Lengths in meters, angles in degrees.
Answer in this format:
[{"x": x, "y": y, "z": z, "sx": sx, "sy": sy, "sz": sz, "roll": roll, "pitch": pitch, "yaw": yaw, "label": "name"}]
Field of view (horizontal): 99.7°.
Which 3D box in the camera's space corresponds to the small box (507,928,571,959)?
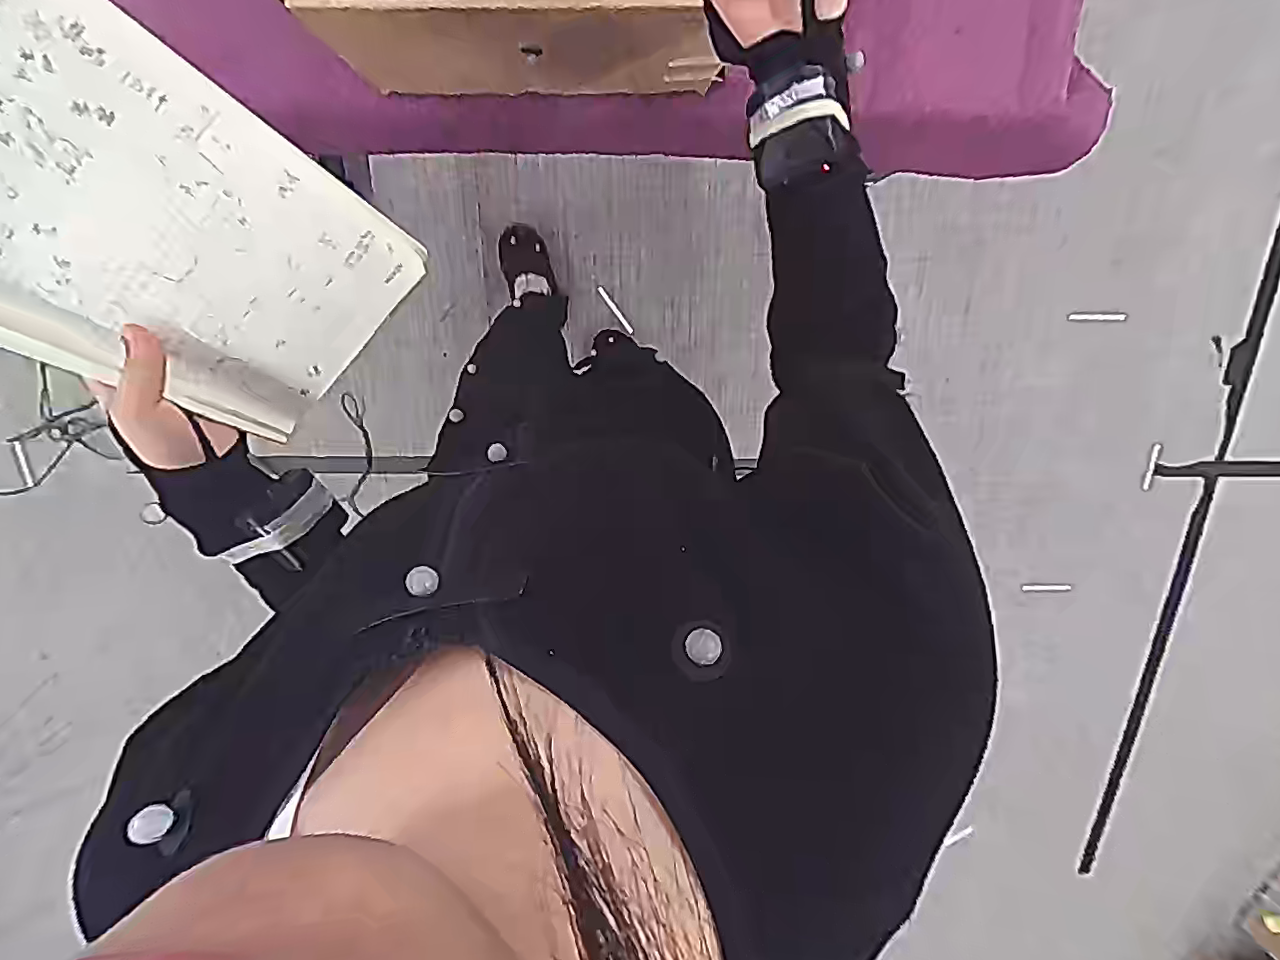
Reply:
[{"x": -0.291, "y": 1.418, "z": 1.539, "sx": 0.168, "sy": 0.176, "sz": 0.179, "roll": -3, "pitch": 108, "yaw": 0, "label": "small box"}]
